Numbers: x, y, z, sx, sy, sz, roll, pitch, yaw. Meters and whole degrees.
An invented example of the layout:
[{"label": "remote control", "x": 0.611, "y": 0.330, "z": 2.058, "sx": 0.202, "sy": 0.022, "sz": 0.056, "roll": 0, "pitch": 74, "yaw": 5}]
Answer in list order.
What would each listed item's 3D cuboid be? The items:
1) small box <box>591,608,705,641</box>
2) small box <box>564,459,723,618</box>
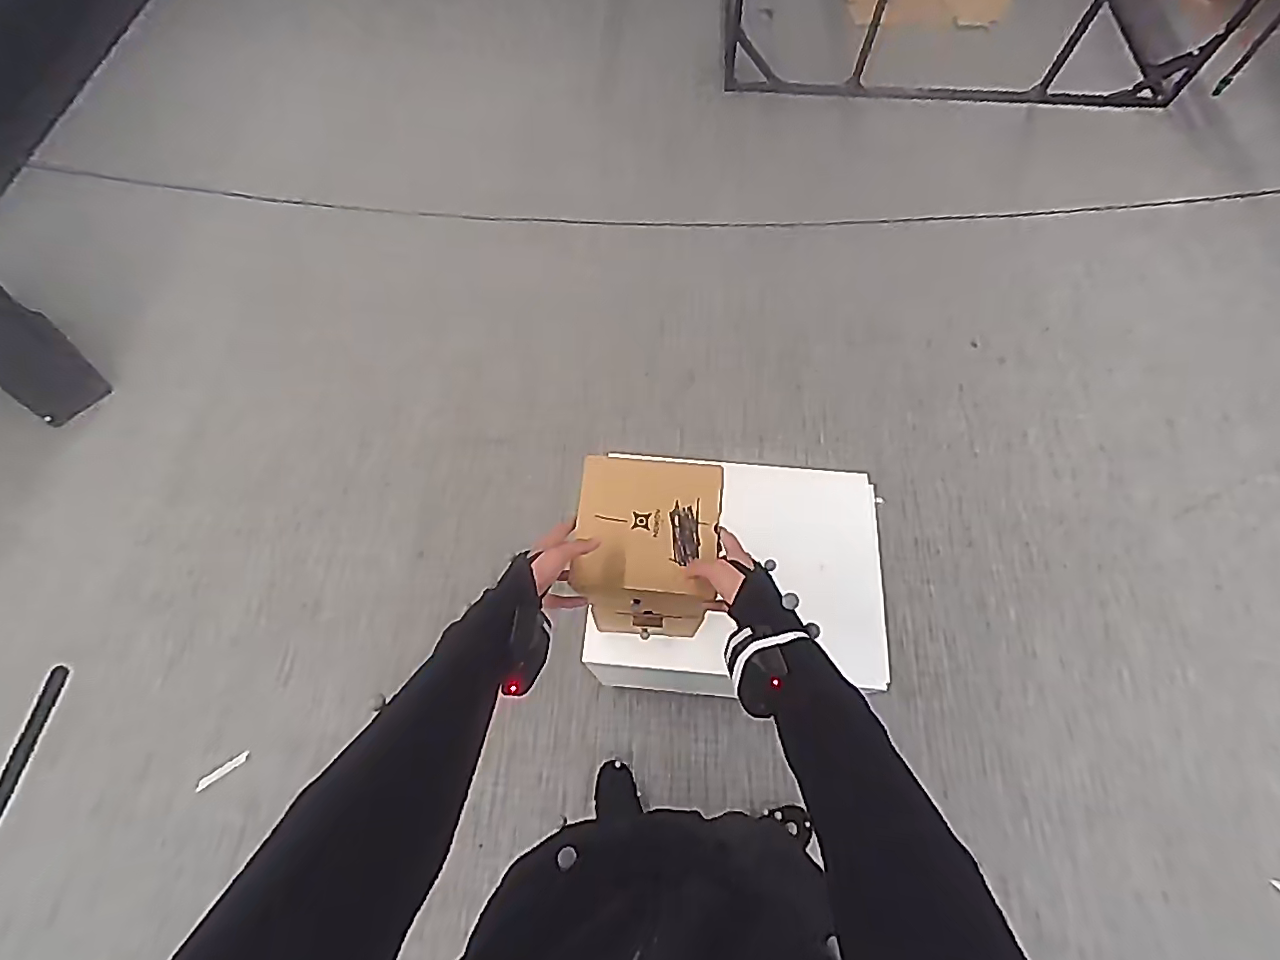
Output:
[{"label": "small box", "x": 0.017, "y": 0.152, "z": 0.871, "sx": 0.168, "sy": 0.176, "sz": 0.179, "roll": 3, "pitch": 66, "yaw": 2}, {"label": "small box", "x": 0.010, "y": 0.085, "z": 0.712, "sx": 0.179, "sy": 0.176, "sz": 0.168, "roll": 4, "pitch": 69, "yaw": 5}]
